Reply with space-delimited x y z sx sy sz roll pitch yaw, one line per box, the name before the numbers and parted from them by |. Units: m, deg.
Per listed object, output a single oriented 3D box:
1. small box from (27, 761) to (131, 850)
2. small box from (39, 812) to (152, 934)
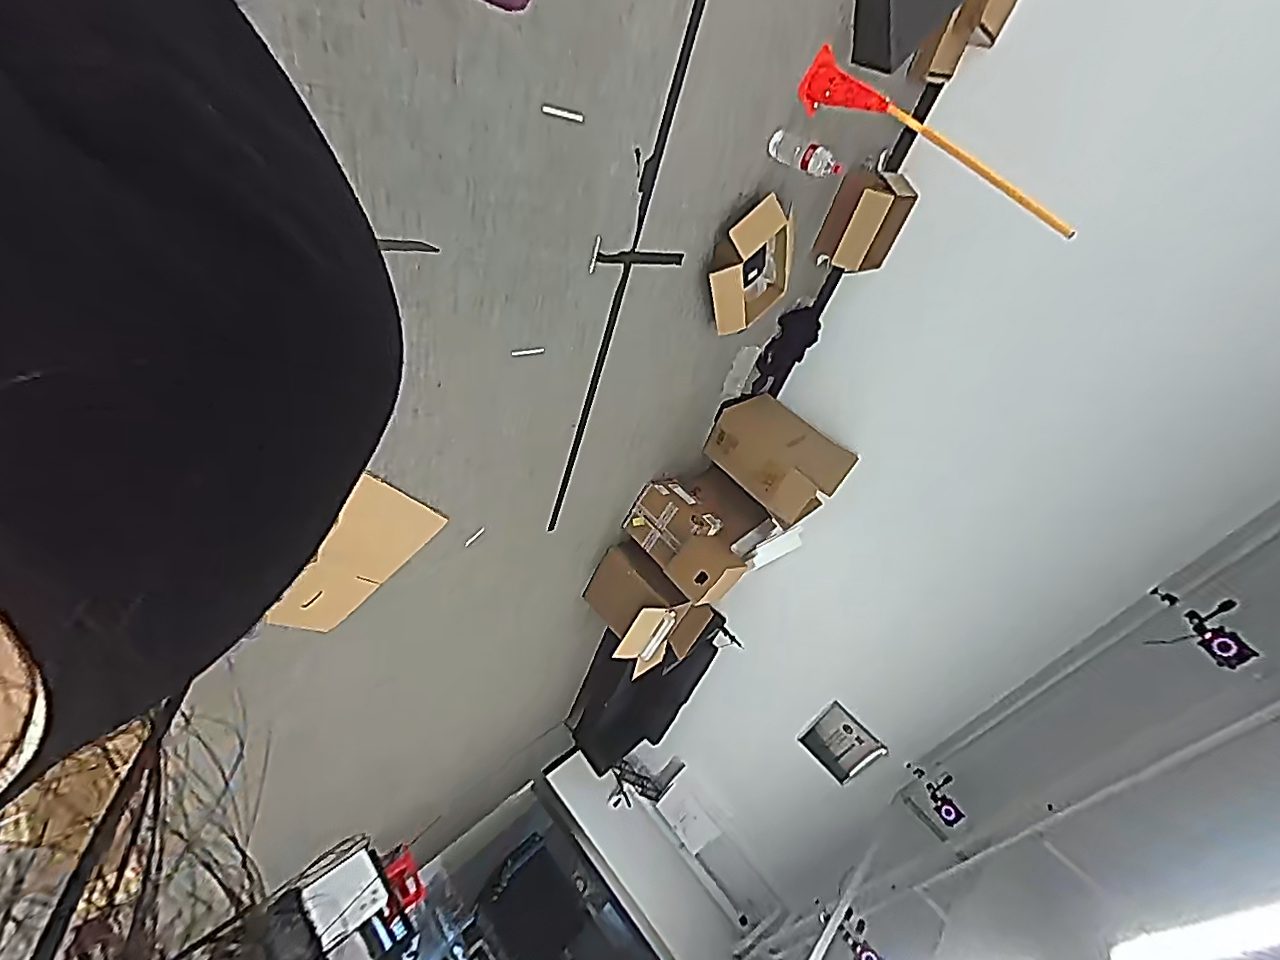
small box | -1.519 0.903 1.470 0.168 0.176 0.179 -16 141 -48
small box | -1.412 1.010 1.405 0.168 0.176 0.179 -19 141 -45
